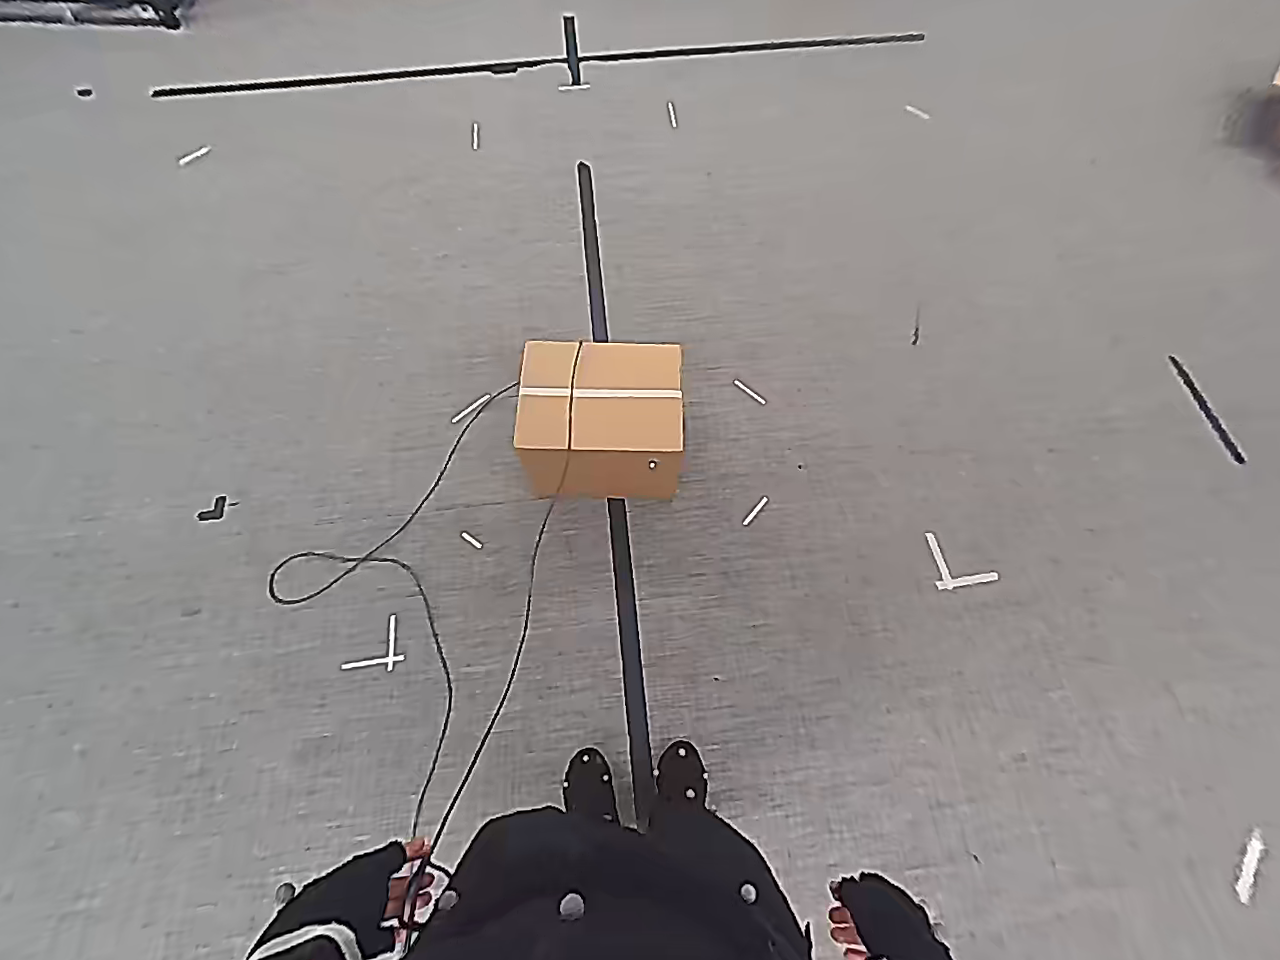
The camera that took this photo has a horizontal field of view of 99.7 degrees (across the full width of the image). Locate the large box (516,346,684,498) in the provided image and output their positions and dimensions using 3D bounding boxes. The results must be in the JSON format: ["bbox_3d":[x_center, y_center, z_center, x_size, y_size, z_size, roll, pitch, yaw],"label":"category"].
[{"bbox_3d":[-0.097,-0.146,1.467,0.408,0.320,0.320,1,66,-1],"label":"large box"}]
